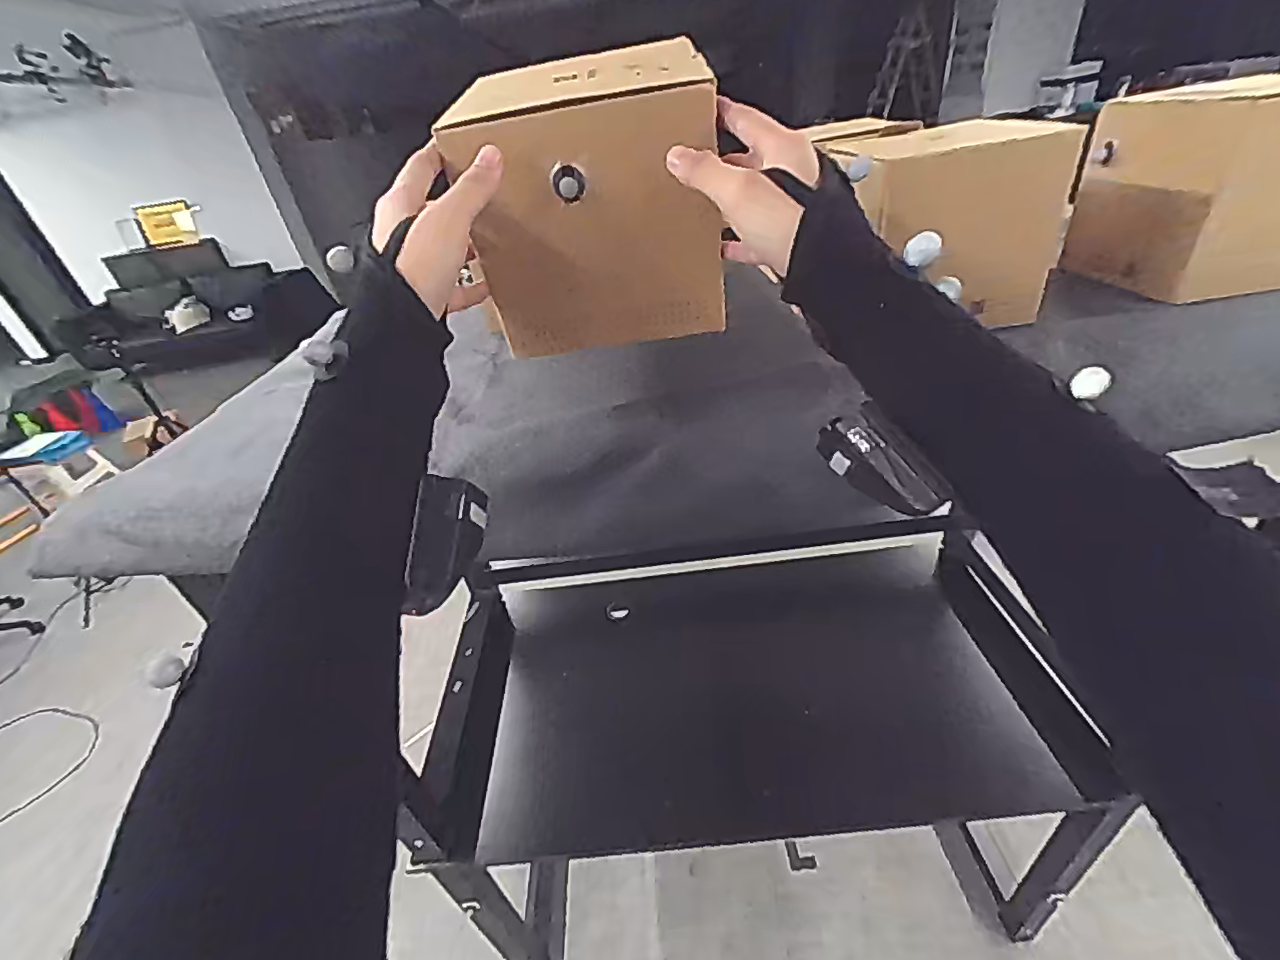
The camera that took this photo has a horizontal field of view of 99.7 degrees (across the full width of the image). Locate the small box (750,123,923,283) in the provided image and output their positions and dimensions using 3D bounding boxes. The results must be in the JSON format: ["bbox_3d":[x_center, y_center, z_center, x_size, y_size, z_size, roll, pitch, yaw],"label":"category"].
[{"bbox_3d":[0.256,-0.386,0.752,0.179,0.176,0.168,-7,33,1],"label":"small box"}]

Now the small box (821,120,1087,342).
[{"bbox_3d":[0.291,-0.254,0.553,0.168,0.176,0.179,-8,33,4],"label":"small box"}]

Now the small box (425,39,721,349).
[{"bbox_3d":[-0.035,-0.220,0.428,0.179,0.176,0.168,-6,45,4],"label":"small box"}]

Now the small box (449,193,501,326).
[{"bbox_3d":[-0.147,-0.324,0.756,0.168,0.176,0.179,-10,34,-1],"label":"small box"}]
